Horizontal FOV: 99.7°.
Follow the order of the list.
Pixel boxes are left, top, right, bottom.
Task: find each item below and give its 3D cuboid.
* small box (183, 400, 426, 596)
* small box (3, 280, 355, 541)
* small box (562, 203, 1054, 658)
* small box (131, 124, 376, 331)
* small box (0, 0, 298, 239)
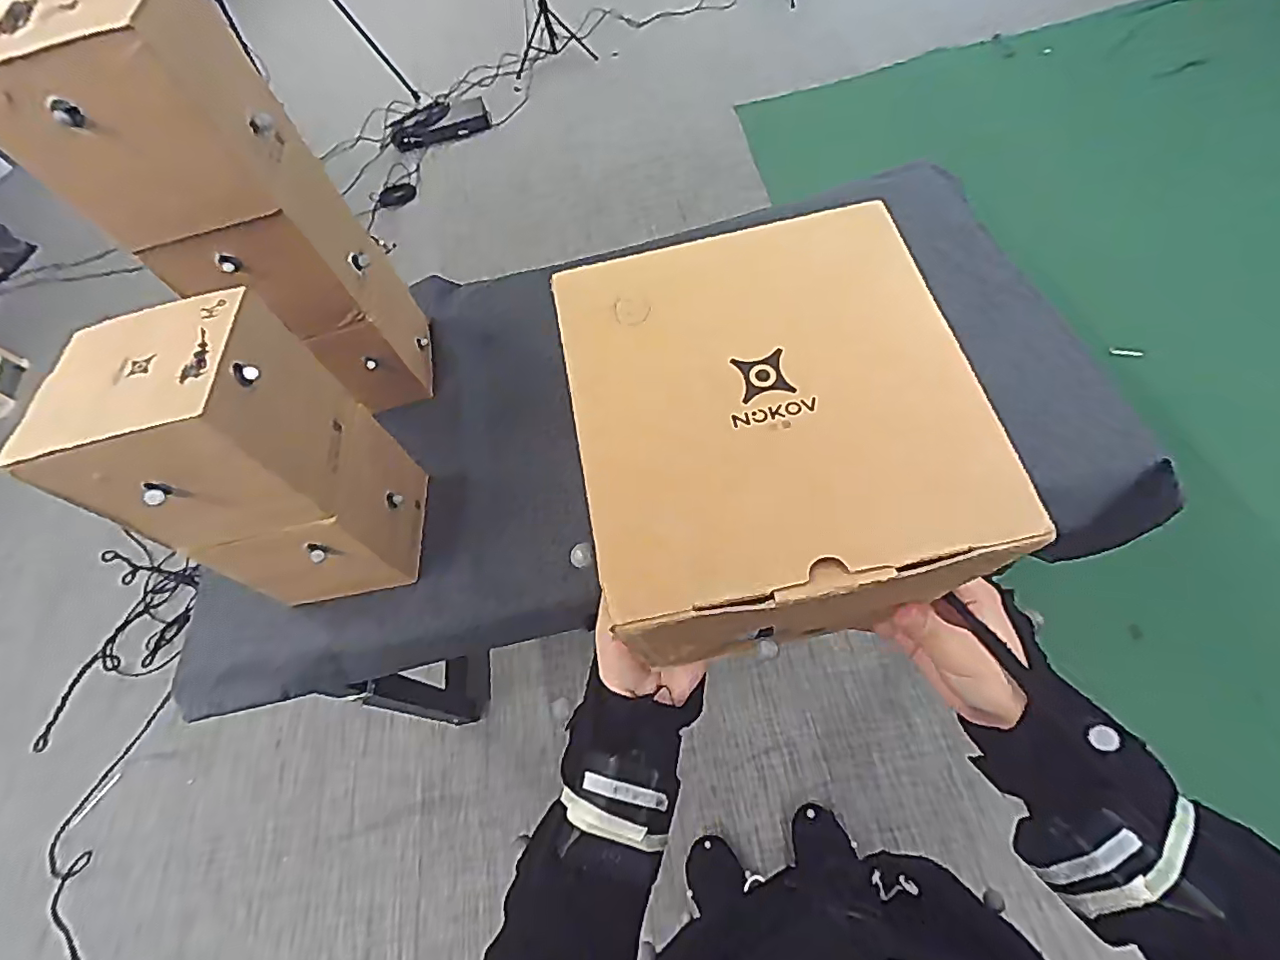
[{"bbox_3d":[-0.388,0.029,0.666,0.179,0.176,0.168,-11,57,4],"label":"small box"},{"bbox_3d":[-0.419,-0.057,0.531,0.179,0.176,0.168,-14,58,3],"label":"small box"},{"bbox_3d":[0.062,-0.010,0.302,0.168,0.176,0.179,-12,67,1],"label":"small box"},{"bbox_3d":[-0.464,-0.300,0.681,0.179,0.176,0.168,-15,62,0],"label":"small box"},{"bbox_3d":[-0.484,-0.370,0.533,0.179,0.176,0.168,-14,62,2],"label":"small box"}]
